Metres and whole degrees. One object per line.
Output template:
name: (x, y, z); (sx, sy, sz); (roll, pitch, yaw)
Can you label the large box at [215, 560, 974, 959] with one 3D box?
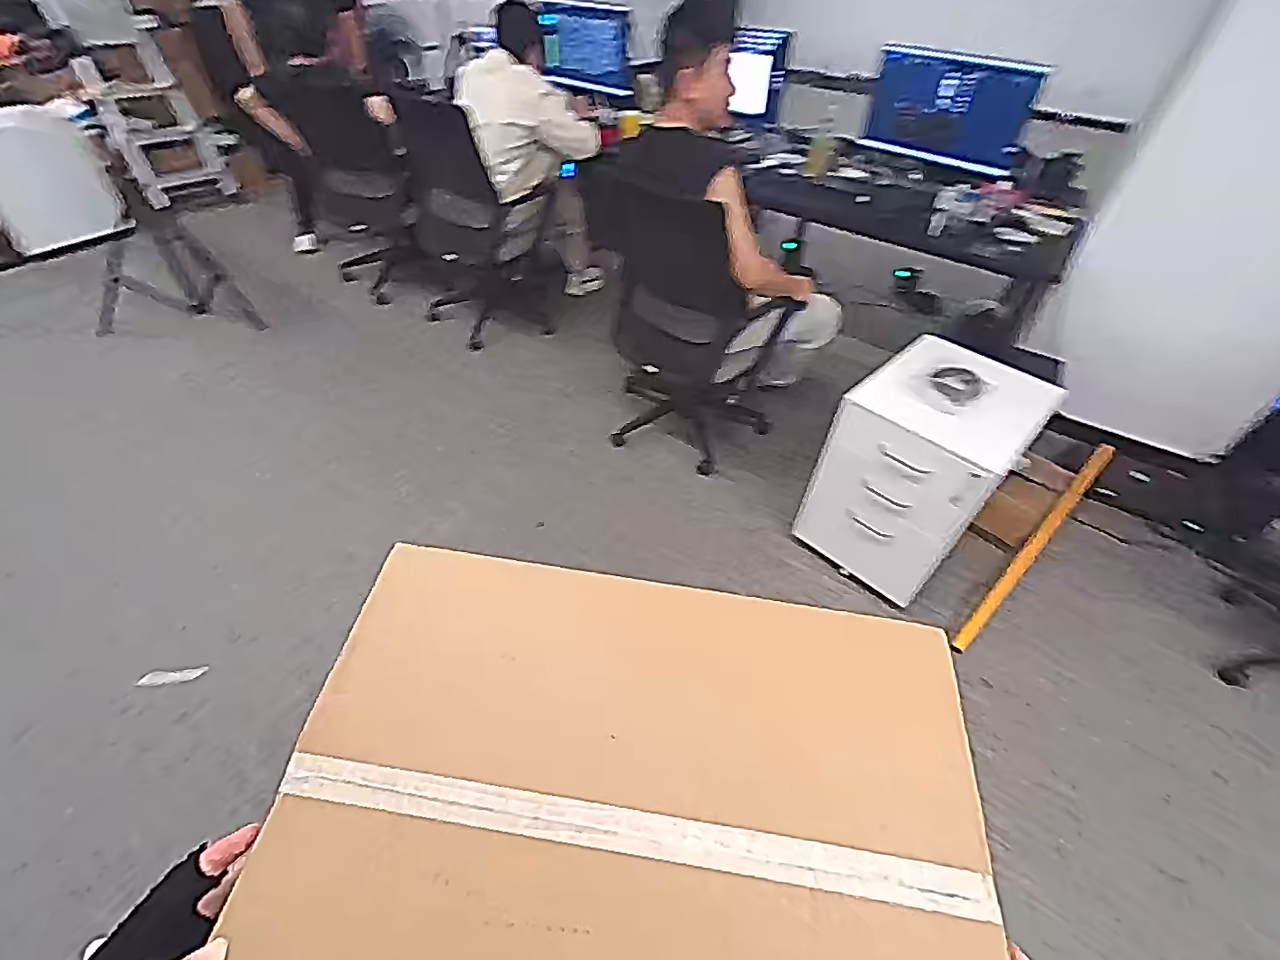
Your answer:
large box: (-0.019, 0.293, 0.439); (0.408, 0.320, 0.320); (8, 55, 3)
